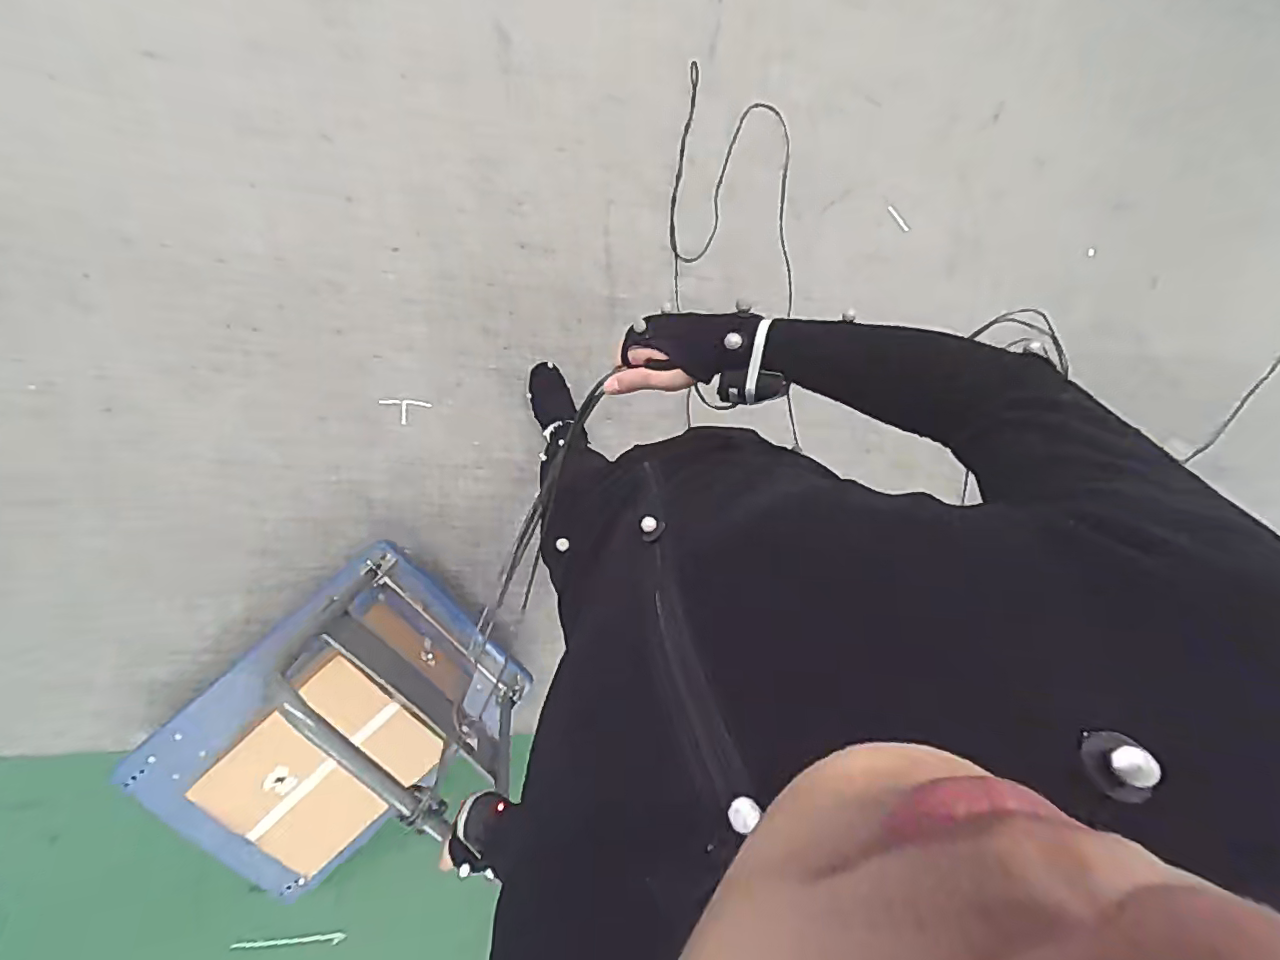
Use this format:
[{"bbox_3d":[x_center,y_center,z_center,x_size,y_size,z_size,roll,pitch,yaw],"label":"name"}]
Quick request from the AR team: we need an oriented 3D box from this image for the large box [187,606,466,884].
[{"bbox_3d":[-0.664,0.570,1.231,0.408,0.320,0.320,-42,103,-2],"label":"large box"}]
